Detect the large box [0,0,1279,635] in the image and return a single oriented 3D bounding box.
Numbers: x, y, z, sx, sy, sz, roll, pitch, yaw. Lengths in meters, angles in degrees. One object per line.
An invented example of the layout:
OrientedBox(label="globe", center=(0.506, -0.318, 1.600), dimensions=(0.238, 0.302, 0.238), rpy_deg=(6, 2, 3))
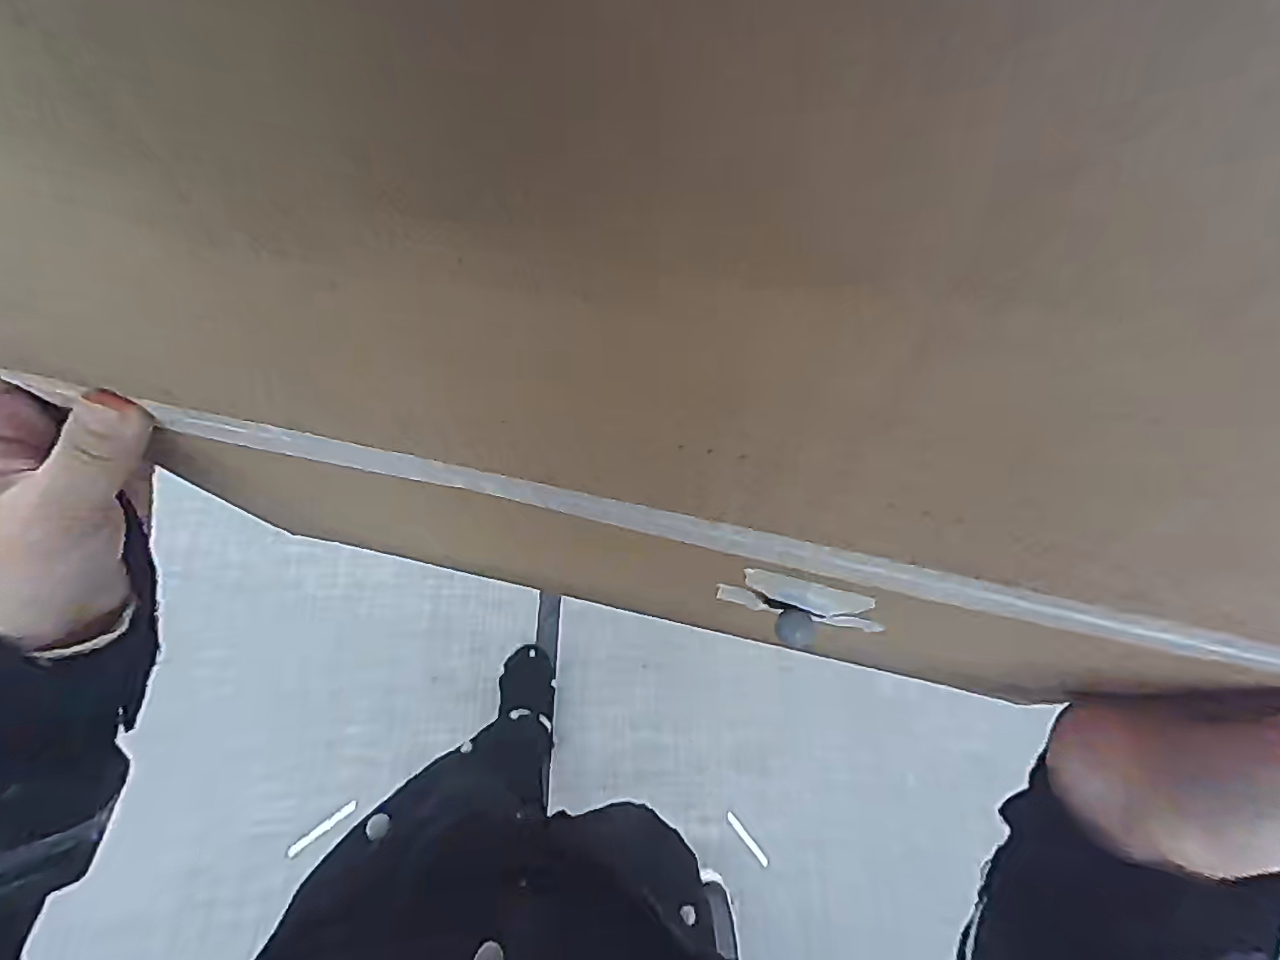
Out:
OrientedBox(label="large box", center=(0.033, -0.157, 0.217), dimensions=(0.408, 0.320, 0.320), rpy_deg=(11, 67, 6))
